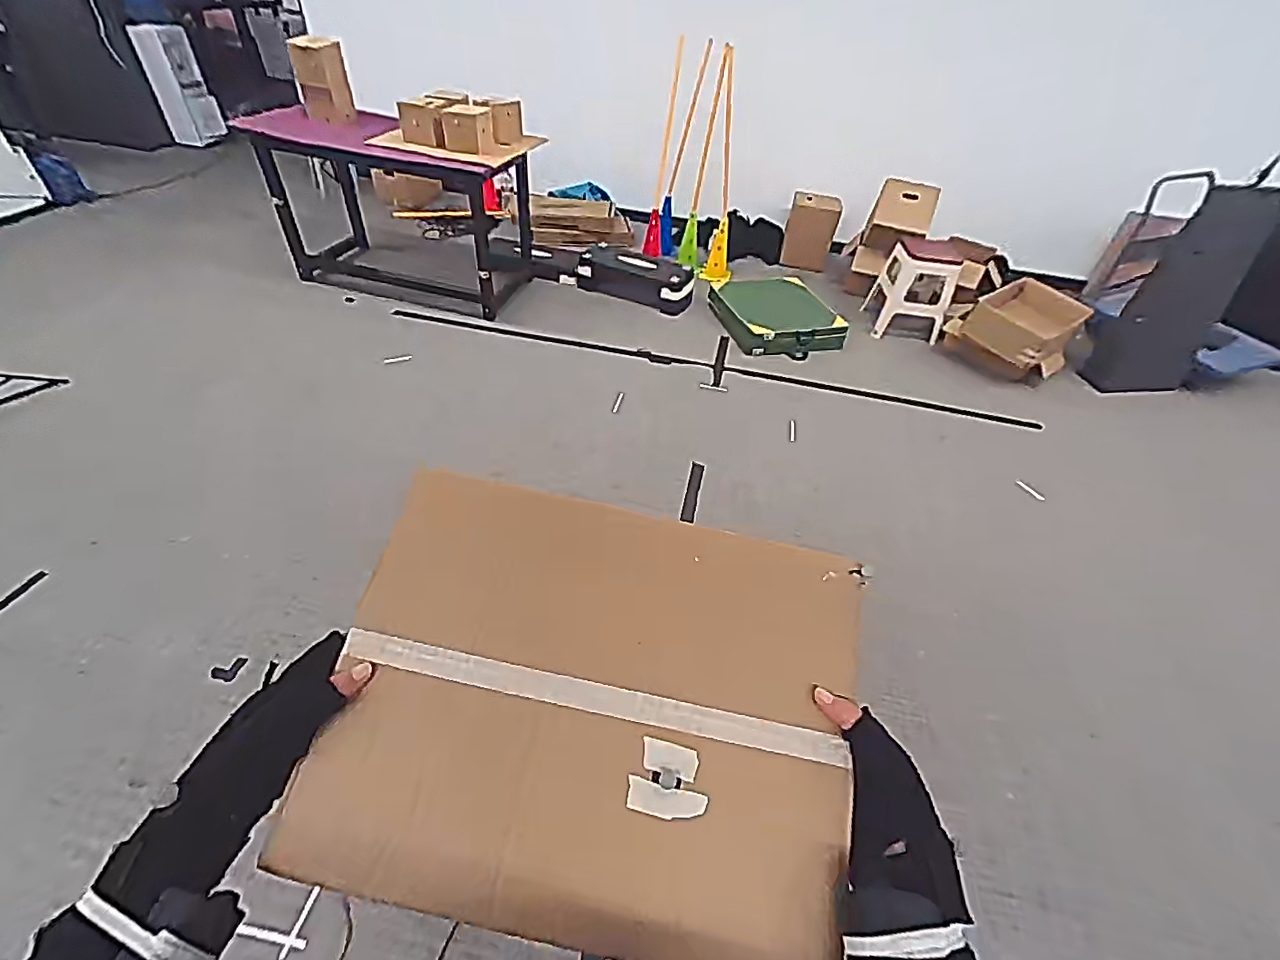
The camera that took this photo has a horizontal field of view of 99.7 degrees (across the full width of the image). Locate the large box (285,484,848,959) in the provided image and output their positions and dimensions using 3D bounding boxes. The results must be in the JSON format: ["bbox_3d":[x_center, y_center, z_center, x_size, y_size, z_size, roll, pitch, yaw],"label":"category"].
[{"bbox_3d":[-0.043,0.234,0.575,0.408,0.320,0.320,12,68,1],"label":"large box"}]
